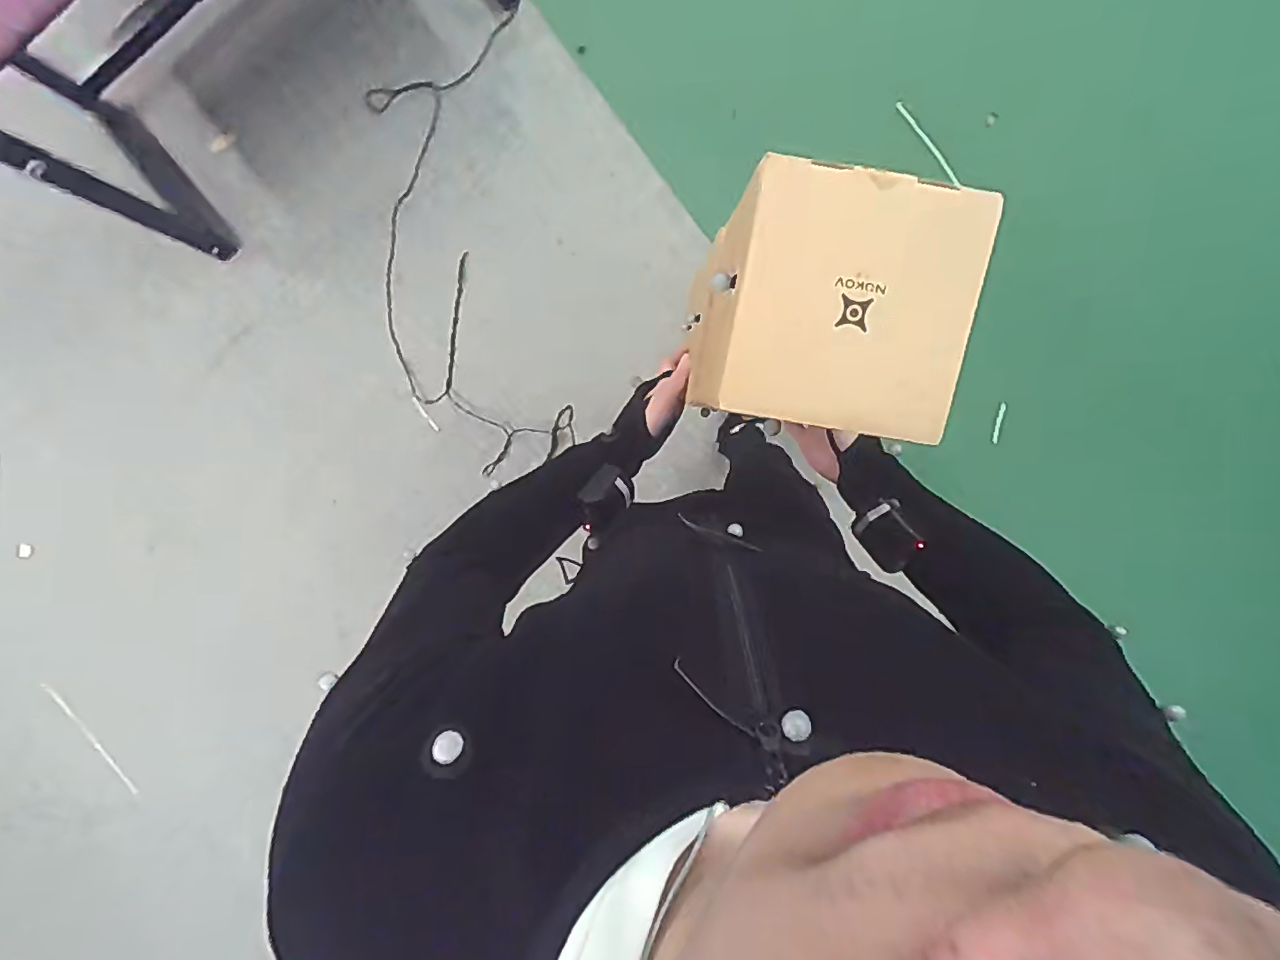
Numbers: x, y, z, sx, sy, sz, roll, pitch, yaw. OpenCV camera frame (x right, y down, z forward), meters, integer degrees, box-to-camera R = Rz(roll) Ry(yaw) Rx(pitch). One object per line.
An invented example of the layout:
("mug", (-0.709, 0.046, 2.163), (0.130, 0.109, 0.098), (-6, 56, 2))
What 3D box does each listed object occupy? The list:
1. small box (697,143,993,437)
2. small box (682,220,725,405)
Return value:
("small box", (0.144, -0.140, 0.450), (0.168, 0.176, 0.179), (9, 99, 0))
("small box", (0.141, -0.166, 0.610), (0.168, 0.176, 0.179), (8, 98, 0))
